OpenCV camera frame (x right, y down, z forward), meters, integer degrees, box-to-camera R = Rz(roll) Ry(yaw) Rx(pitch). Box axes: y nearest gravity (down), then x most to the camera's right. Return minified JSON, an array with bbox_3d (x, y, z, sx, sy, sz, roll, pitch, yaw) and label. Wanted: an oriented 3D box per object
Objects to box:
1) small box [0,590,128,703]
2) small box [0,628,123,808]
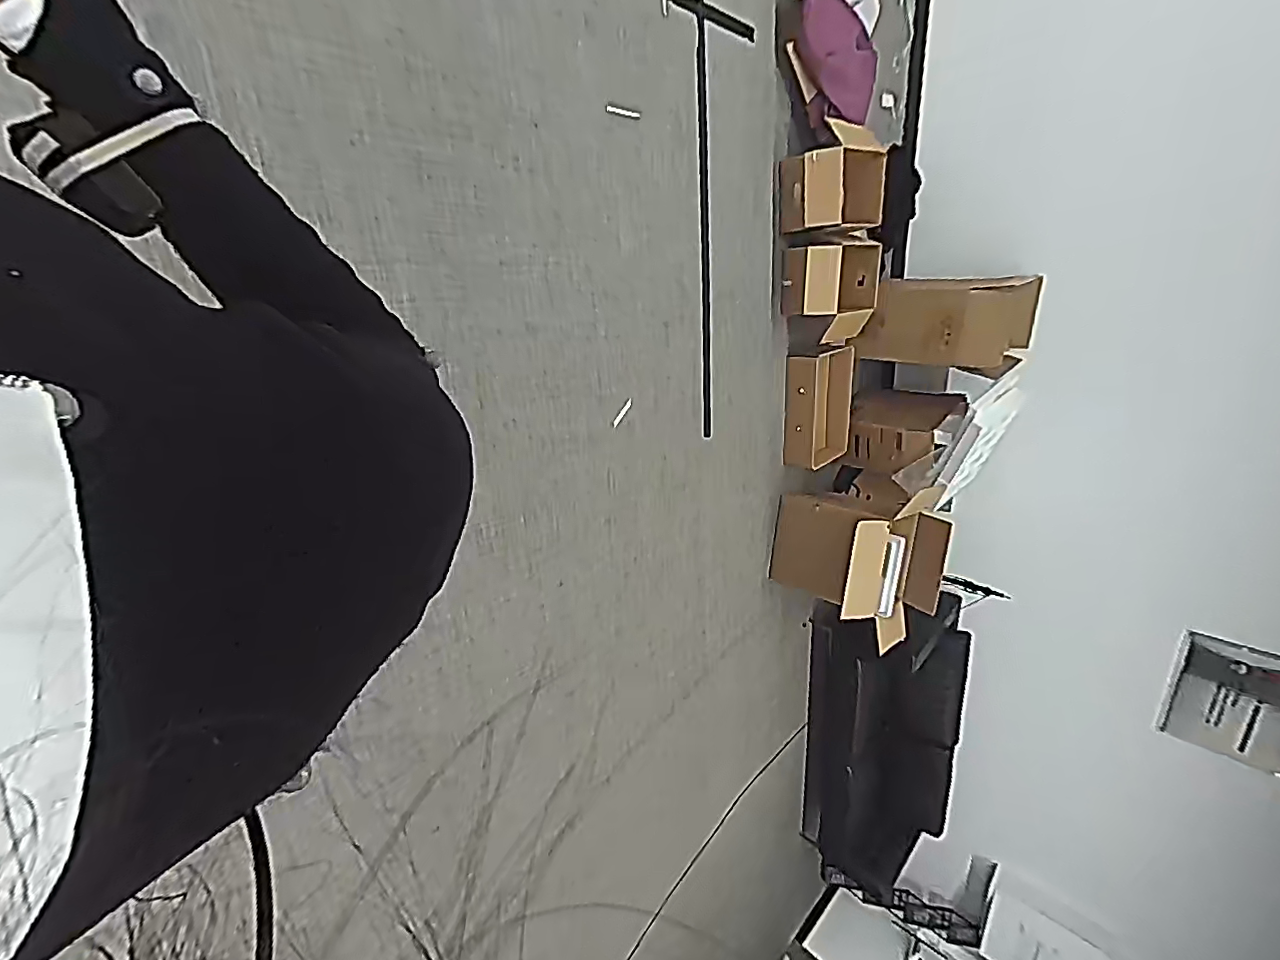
[{"bbox_3d":[-1.057,0.327,0.967,0.168,0.176,0.179,-22,118,-40],"label":"small box"},{"bbox_3d":[-0.948,0.366,0.850,0.168,0.176,0.179,-18,114,-42],"label":"small box"}]
